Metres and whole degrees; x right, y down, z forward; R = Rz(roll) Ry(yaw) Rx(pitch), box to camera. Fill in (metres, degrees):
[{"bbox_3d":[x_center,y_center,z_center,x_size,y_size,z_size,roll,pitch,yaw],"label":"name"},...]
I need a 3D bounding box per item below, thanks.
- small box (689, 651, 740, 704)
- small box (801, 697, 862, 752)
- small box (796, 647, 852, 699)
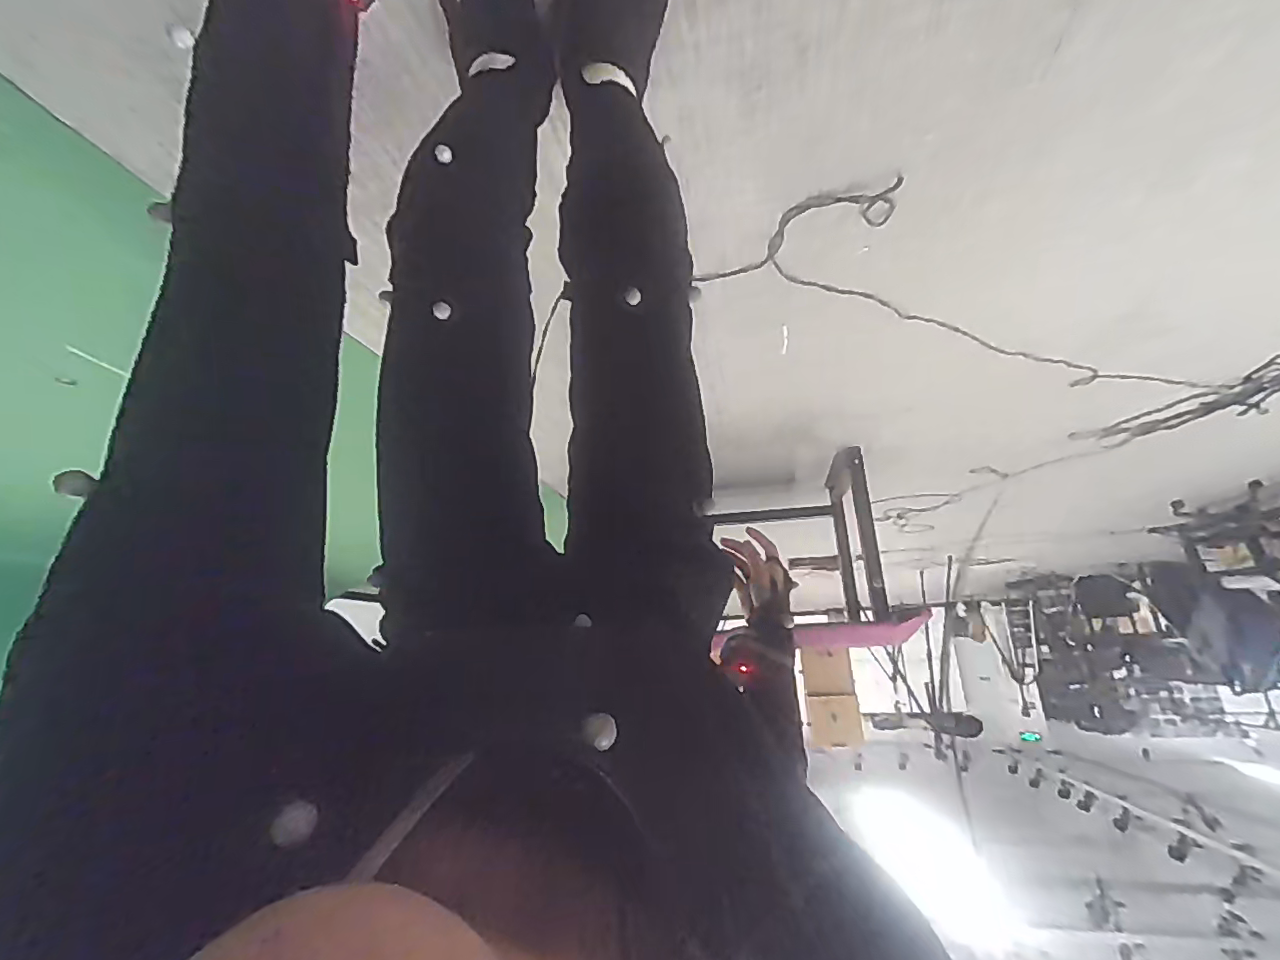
[{"bbox_3d":[0.282,0.740,2.034,0.168,0.176,0.179,-7,163,11],"label":"small box"},{"bbox_3d":[0.669,0.852,1.906,0.168,0.176,0.179,-6,161,10],"label":"small box"},{"bbox_3d":[0.664,0.700,1.968,0.168,0.176,0.179,-7,160,11],"label":"small box"}]
